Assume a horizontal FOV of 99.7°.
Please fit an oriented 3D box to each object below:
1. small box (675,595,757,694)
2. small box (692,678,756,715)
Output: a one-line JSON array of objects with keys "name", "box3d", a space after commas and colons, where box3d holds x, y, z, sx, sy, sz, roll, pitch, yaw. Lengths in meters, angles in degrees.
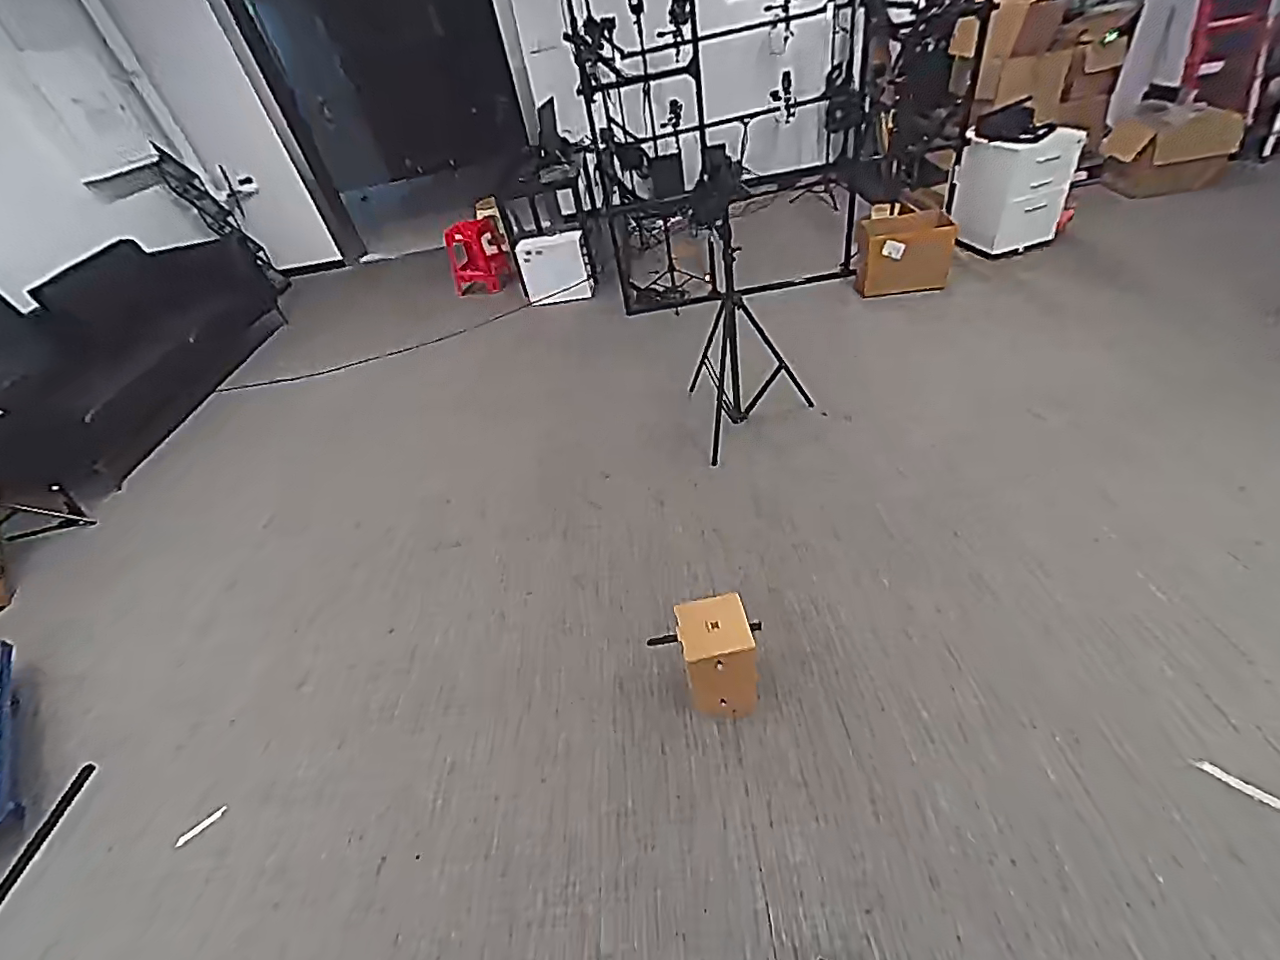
[{"name": "small box", "box3d": [0.198, 0.429, 1.403, 0.179, 0.176, 0.168, -13, 41, 1]}, {"name": "small box", "box3d": [0.231, 0.542, 1.515, 0.168, 0.176, 0.179, -6, 40, 7]}]
